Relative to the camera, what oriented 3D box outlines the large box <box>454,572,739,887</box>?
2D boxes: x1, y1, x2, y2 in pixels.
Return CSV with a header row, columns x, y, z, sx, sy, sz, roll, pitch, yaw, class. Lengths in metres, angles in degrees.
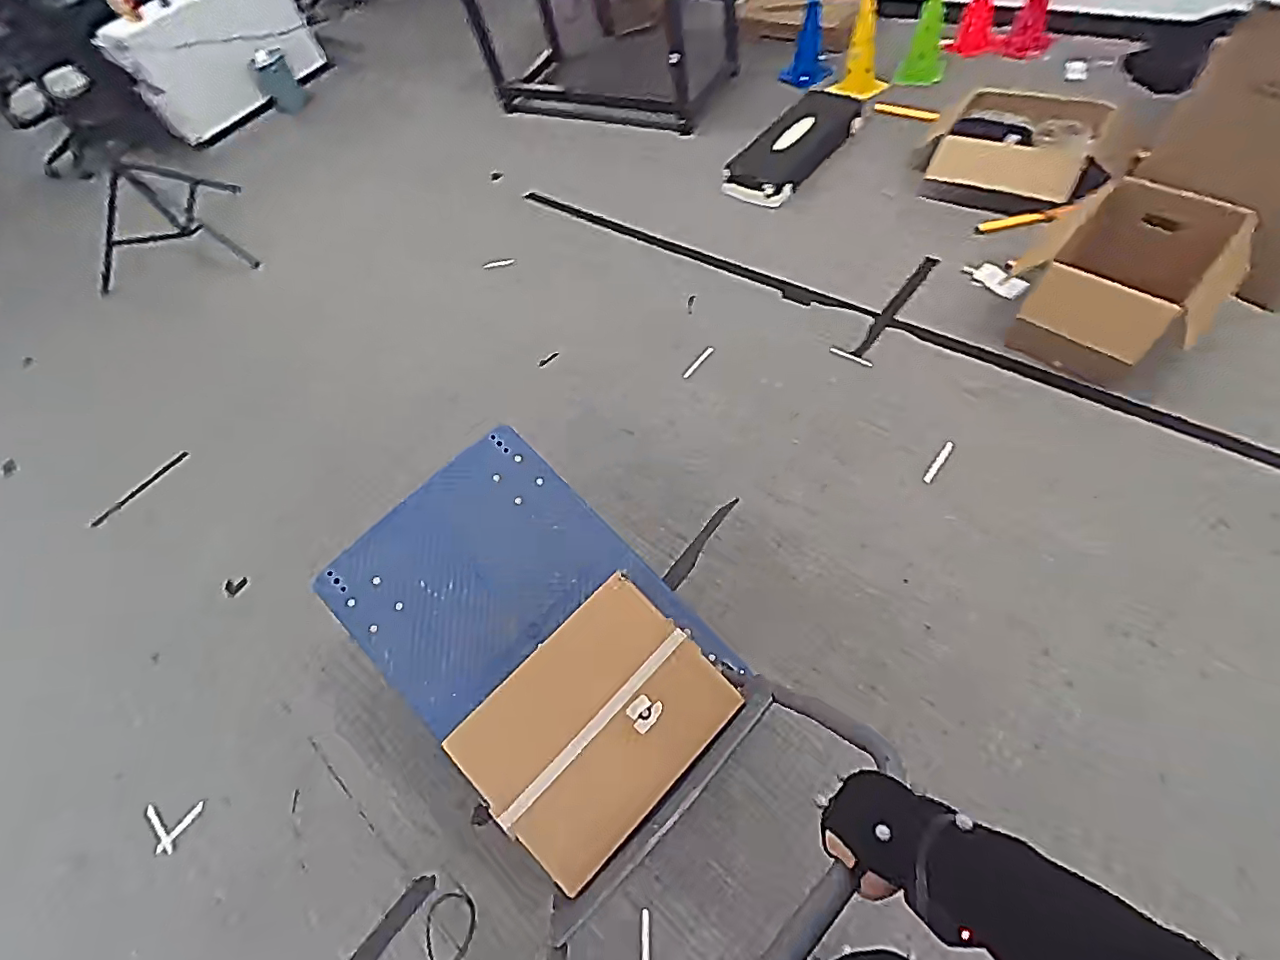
x,y,z,sx,sy,sz,roll,pitch,yaw,class
-0.077,0.449,1.058,0.320,0.320,0.408,44,75,9,large box
